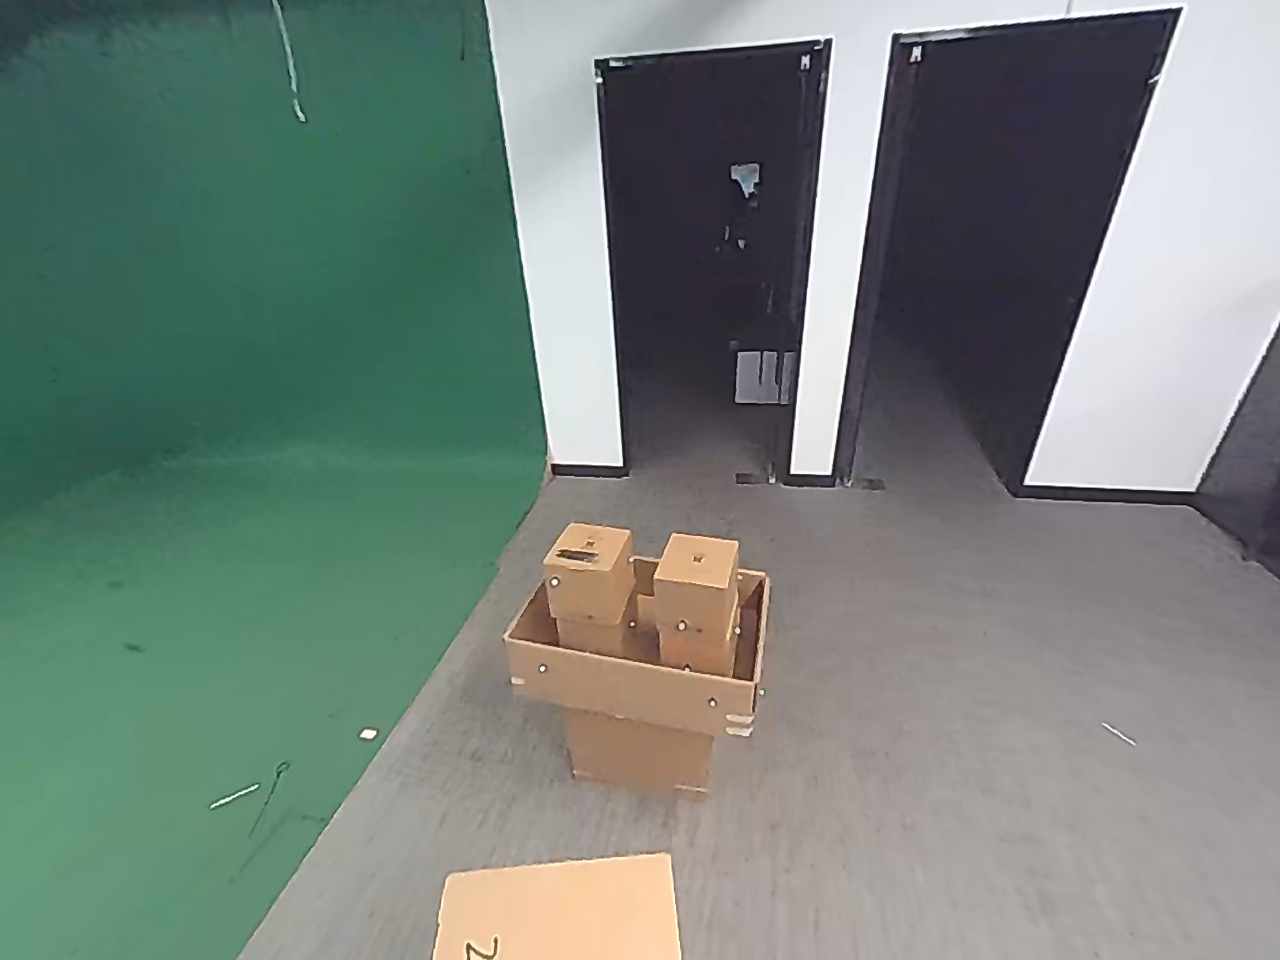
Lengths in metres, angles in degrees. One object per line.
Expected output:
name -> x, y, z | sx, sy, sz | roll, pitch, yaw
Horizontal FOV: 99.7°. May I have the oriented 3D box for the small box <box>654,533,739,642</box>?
small box -> 0.137, 0.251, 1.280 | 0.168, 0.176, 0.179 | 5, 31, 17
